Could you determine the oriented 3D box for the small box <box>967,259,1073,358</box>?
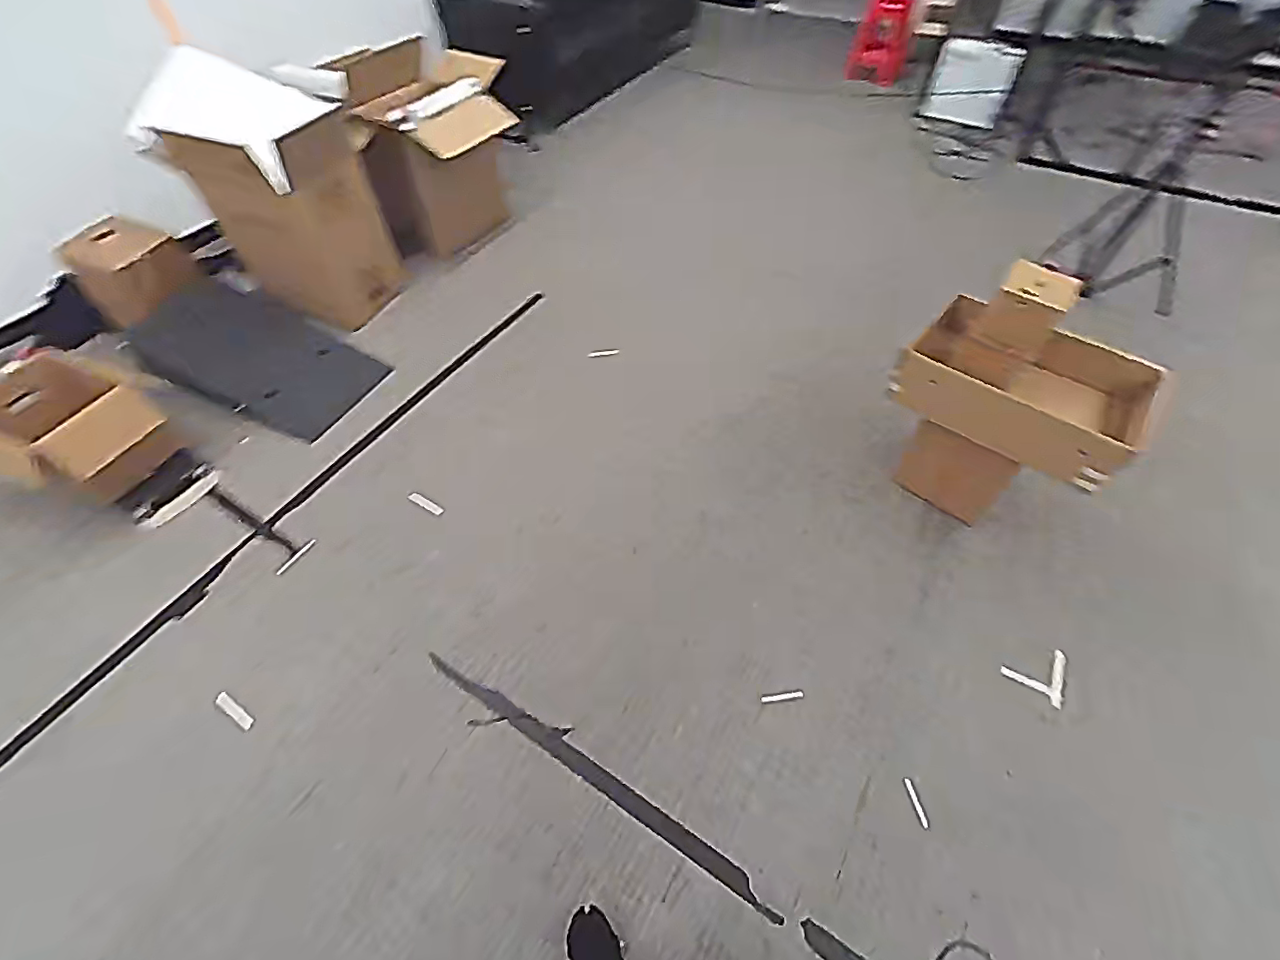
[{"bbox_3d":[1.051,-0.476,1.506,0.168,0.176,0.179,32,59,21],"label":"small box"}]
